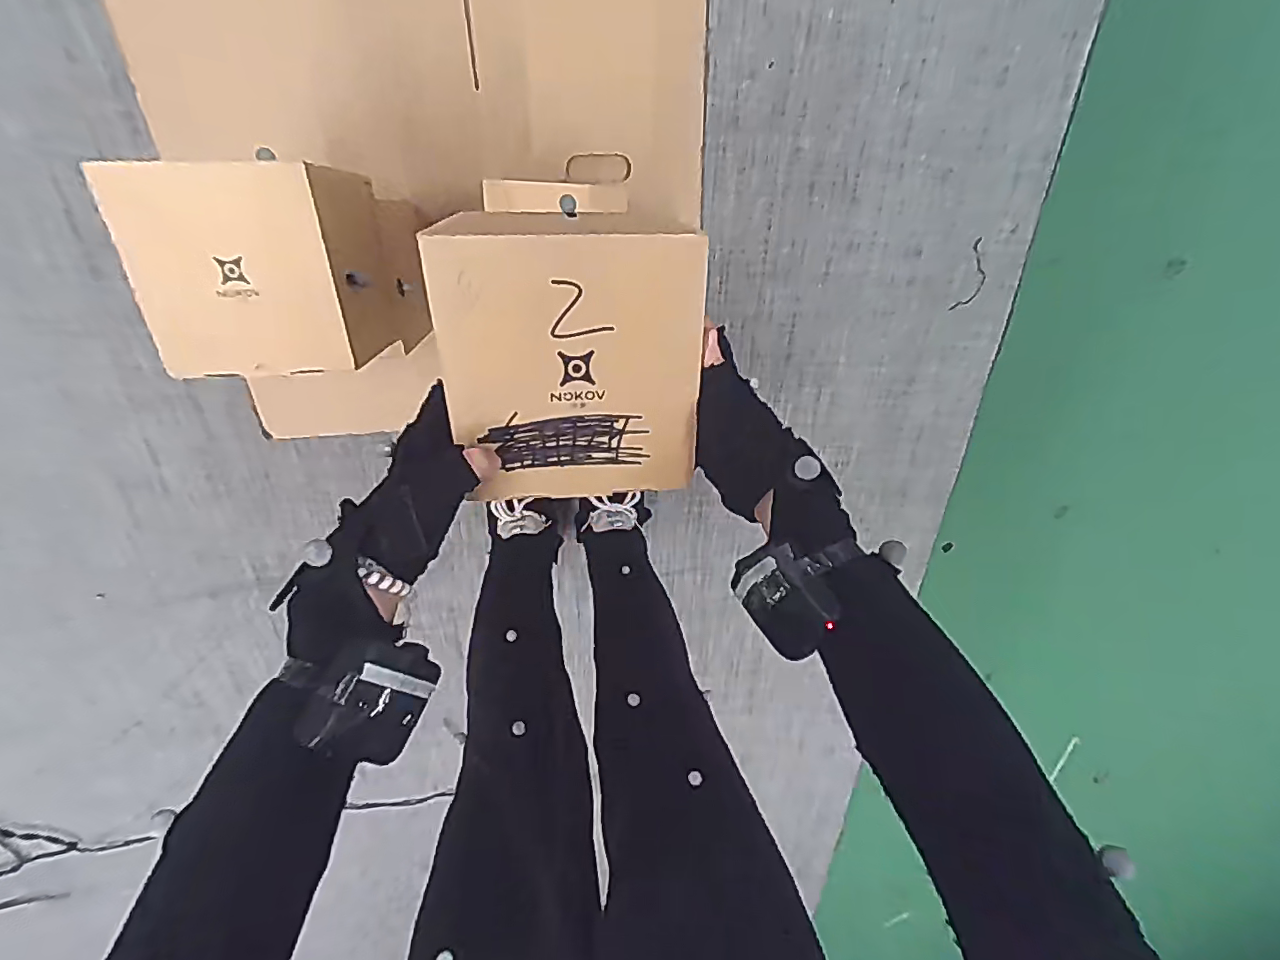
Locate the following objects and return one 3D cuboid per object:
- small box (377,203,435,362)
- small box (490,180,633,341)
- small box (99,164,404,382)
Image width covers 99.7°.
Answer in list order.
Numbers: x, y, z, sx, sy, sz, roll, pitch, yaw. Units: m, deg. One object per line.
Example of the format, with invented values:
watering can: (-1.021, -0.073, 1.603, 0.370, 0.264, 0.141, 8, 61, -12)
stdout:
small box: (-0.379, -0.254, 0.697, 0.168, 0.176, 0.179, -7, 117, -5)
small box: (-0.103, -0.292, 0.720, 0.168, 0.176, 0.179, 0, 117, -7)
small box: (-0.355, -0.208, 0.540, 0.168, 0.176, 0.179, -5, 117, -6)
